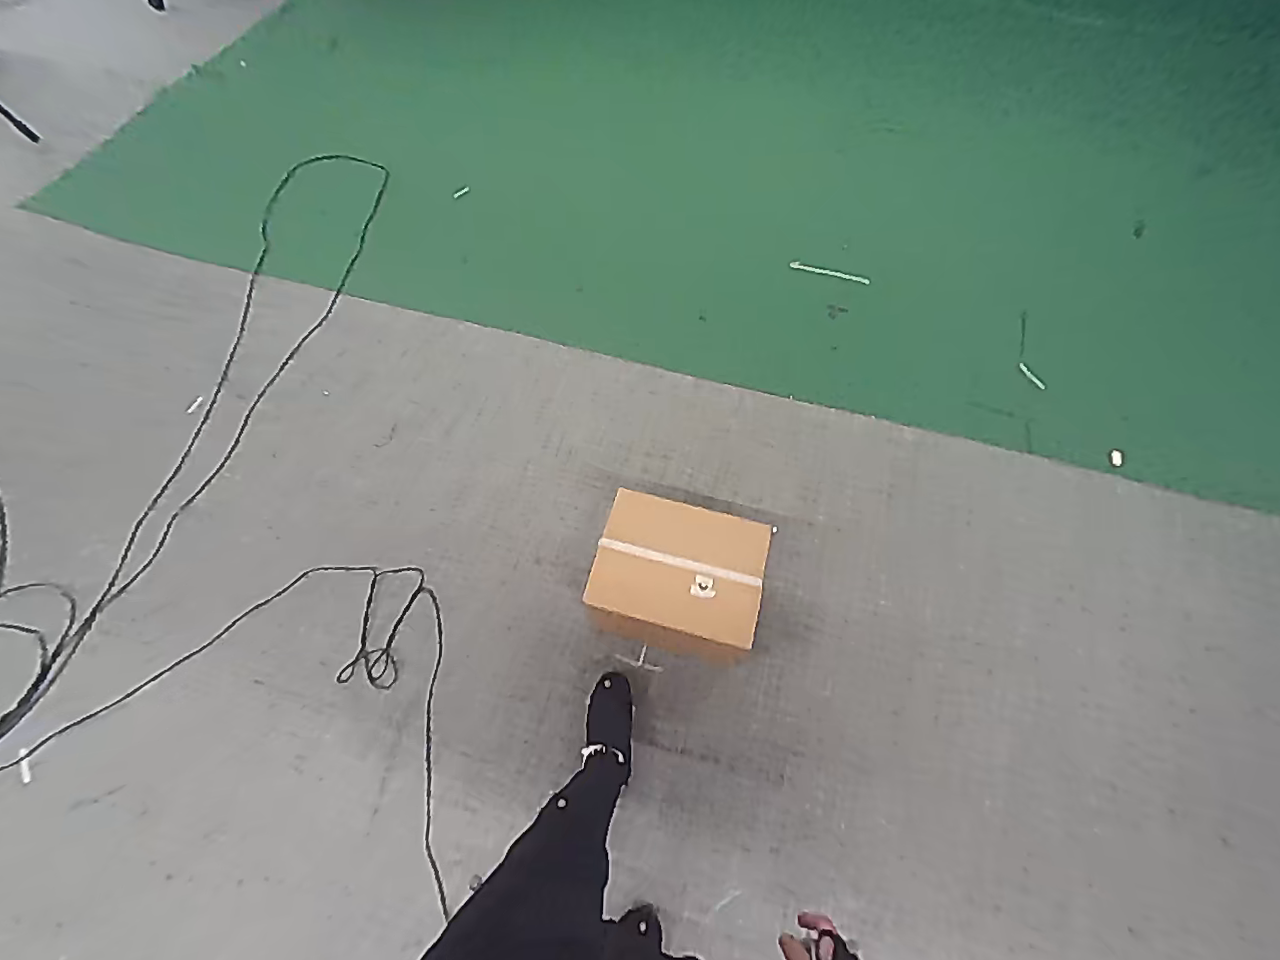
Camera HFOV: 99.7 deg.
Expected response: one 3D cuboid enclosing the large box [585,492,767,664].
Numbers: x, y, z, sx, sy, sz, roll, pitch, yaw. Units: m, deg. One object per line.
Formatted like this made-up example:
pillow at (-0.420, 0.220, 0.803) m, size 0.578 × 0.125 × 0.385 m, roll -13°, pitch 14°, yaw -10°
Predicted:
large box at (0.091, 0.271, 1.454) m, size 0.408 × 0.320 × 0.320 m, roll 13°, pitch 63°, yaw 6°
